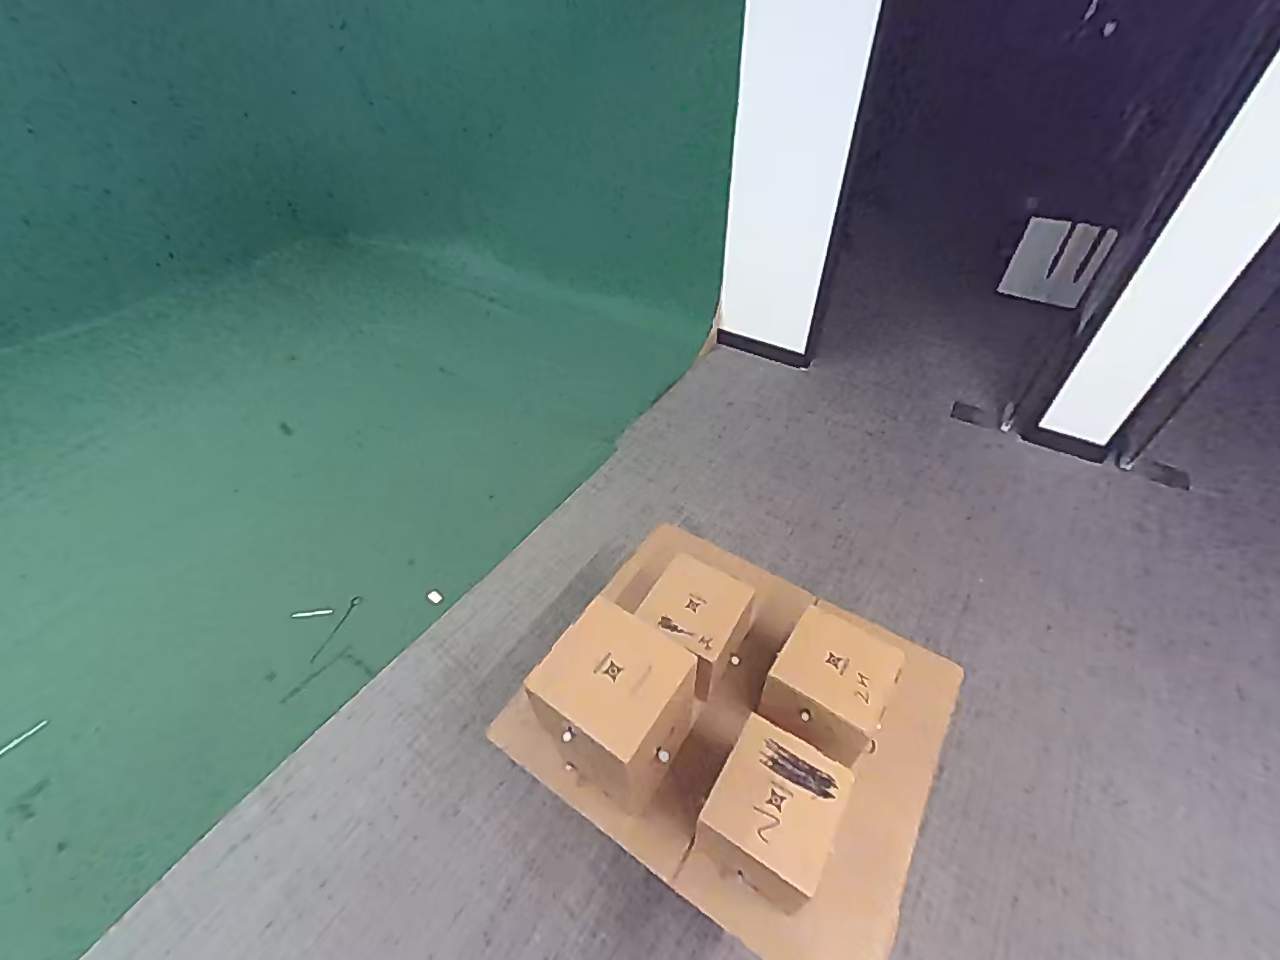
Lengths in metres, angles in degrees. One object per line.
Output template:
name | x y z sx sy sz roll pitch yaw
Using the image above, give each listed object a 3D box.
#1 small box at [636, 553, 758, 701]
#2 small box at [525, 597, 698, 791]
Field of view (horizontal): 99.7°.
small box | 0.106 0.278 1.027 0.168 0.176 0.179 22 49 25
small box | -0.035 0.308 0.776 0.179 0.176 0.168 26 54 26
